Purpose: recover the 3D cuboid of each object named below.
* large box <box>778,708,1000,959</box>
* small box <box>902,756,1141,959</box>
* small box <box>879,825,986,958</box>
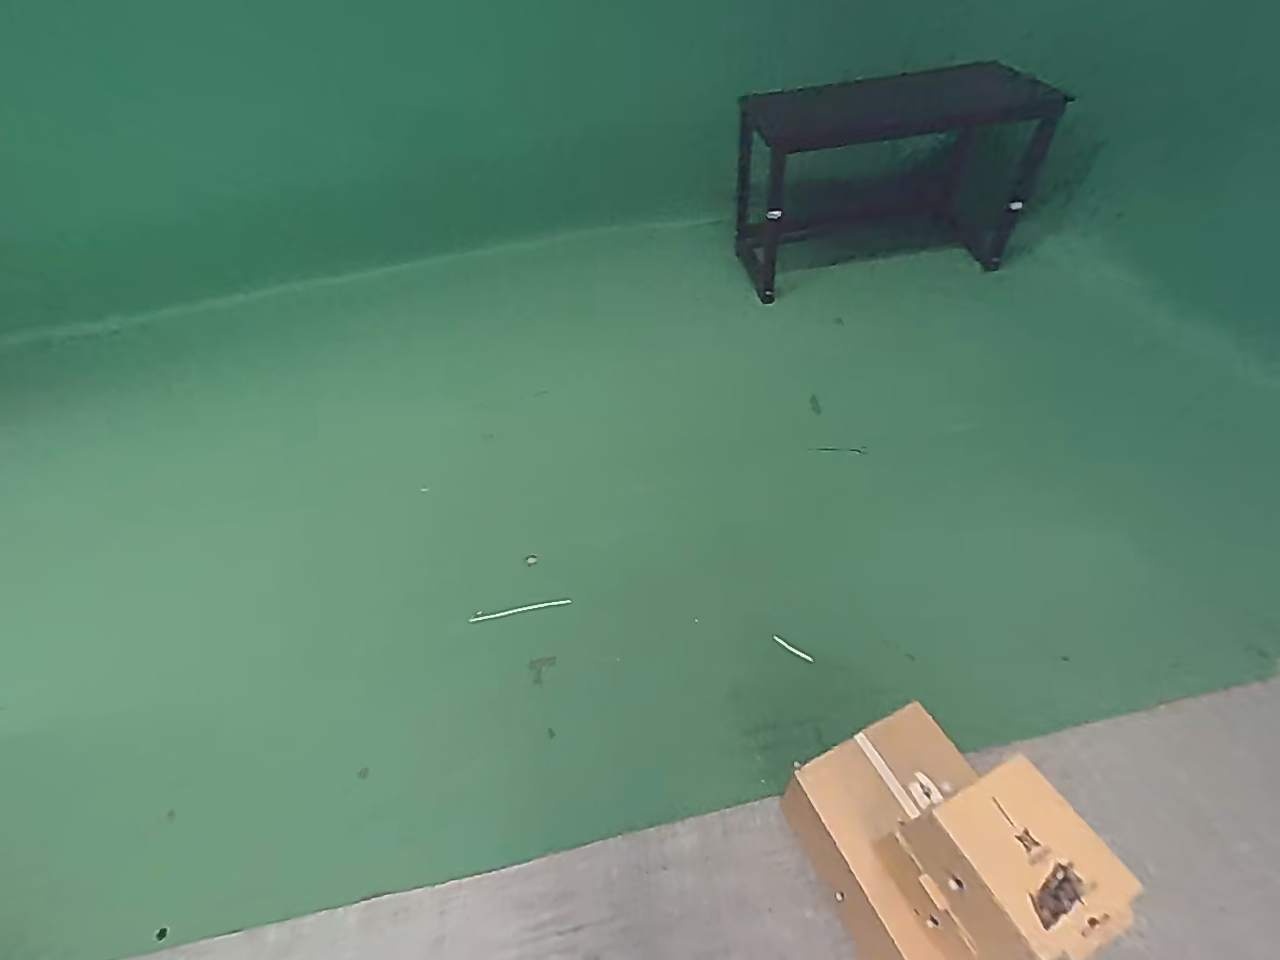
[{"bbox_3d":[0.528,0.755,1.078,0.320,0.320,0.408,-21,48,-13],"label":"large box"},{"bbox_3d":[0.500,0.520,0.742,0.168,0.176,0.179,-23,50,-13],"label":"small box"},{"bbox_3d":[0.511,0.626,0.866,0.179,0.176,0.168,-22,50,-12],"label":"small box"}]
